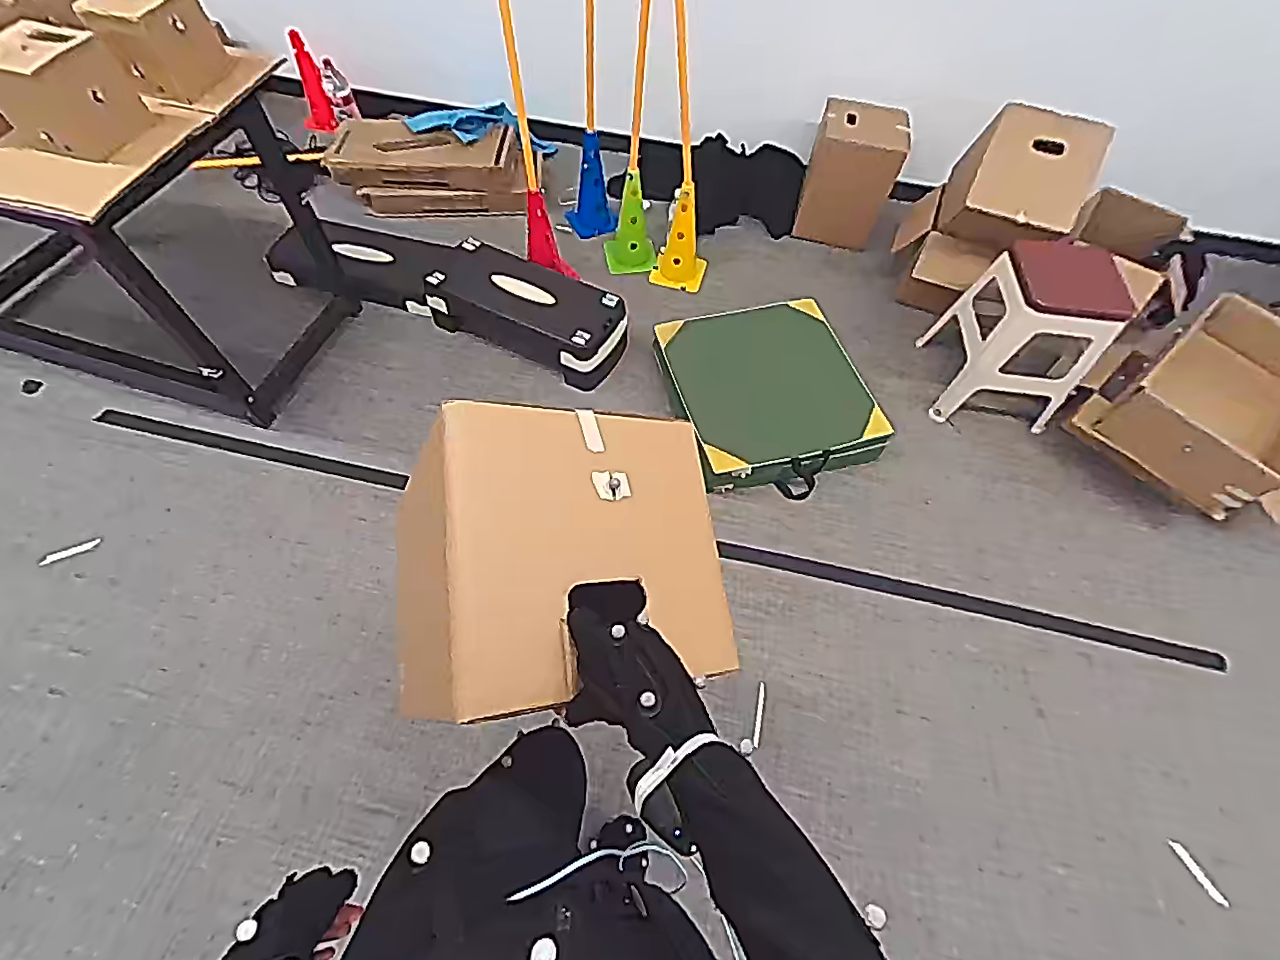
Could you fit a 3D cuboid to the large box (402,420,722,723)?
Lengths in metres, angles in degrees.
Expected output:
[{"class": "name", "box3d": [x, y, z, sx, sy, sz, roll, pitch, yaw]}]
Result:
[{"class": "large box", "box3d": [-0.145, 0.141, 0.756, 0.320, 0.408, 0.320, 4, 69, -30]}]
